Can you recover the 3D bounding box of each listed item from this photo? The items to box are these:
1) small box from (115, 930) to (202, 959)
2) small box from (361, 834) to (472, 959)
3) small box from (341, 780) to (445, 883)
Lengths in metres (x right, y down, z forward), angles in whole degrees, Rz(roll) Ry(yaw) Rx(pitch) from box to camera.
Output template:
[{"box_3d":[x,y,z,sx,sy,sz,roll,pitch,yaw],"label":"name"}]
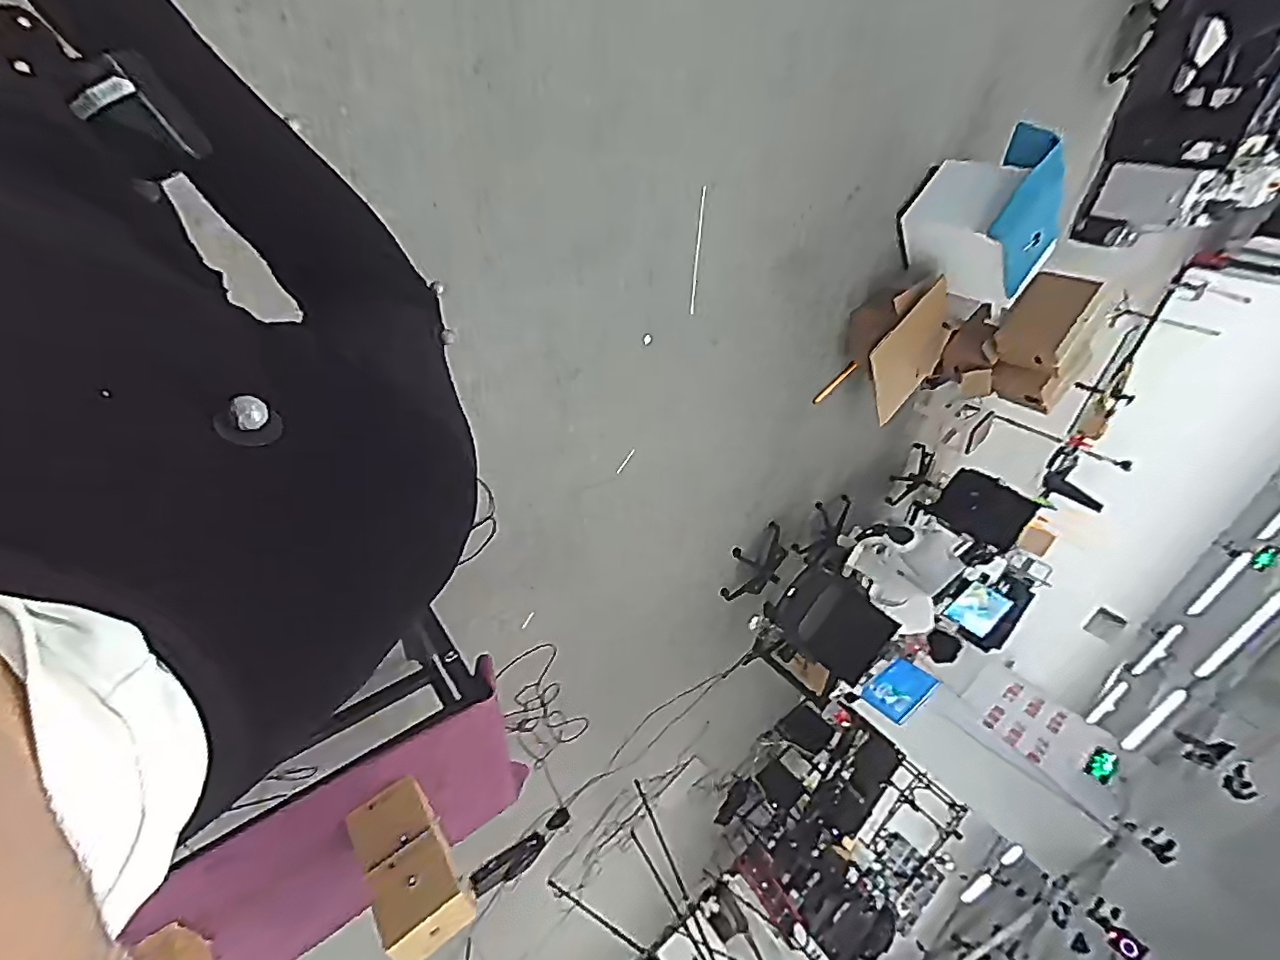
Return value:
[{"box_3d":[-1.001,1.059,1.082,0.168,0.176,0.179,-25,136,-32],"label":"small box"},{"box_3d":[-0.511,0.959,1.237,0.168,0.176,0.179,-26,135,-29],"label":"small box"},{"box_3d":[-0.615,0.893,1.349,0.168,0.176,0.179,-28,136,-29],"label":"small box"}]
